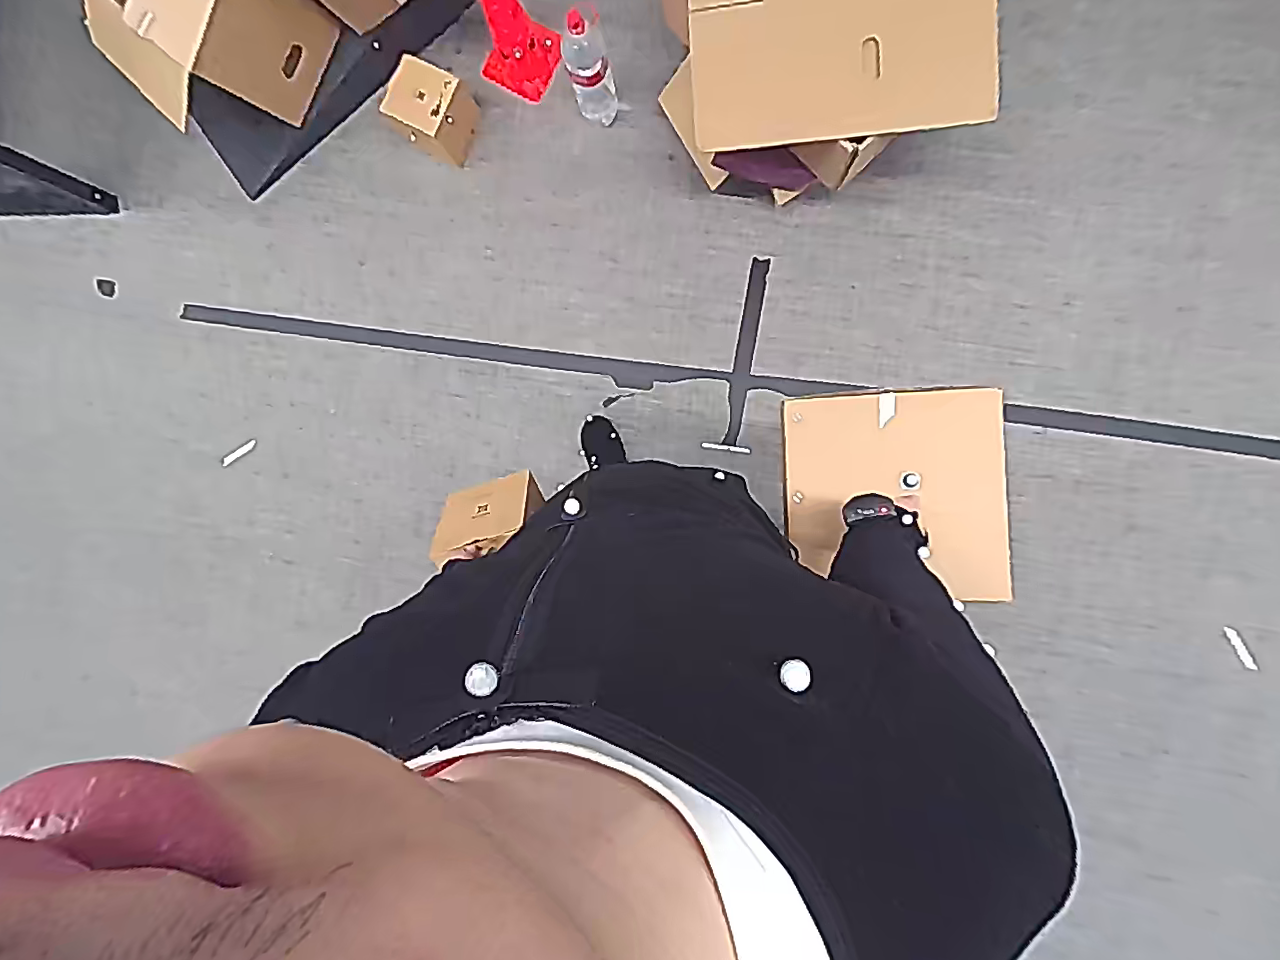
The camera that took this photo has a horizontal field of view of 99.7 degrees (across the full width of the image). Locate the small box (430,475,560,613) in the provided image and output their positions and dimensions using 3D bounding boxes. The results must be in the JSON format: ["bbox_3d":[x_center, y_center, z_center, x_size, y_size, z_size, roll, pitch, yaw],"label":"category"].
[{"bbox_3d":[-0.255,0.124,0.996,0.168,0.179,0.176,-16,122,4],"label":"small box"}]
